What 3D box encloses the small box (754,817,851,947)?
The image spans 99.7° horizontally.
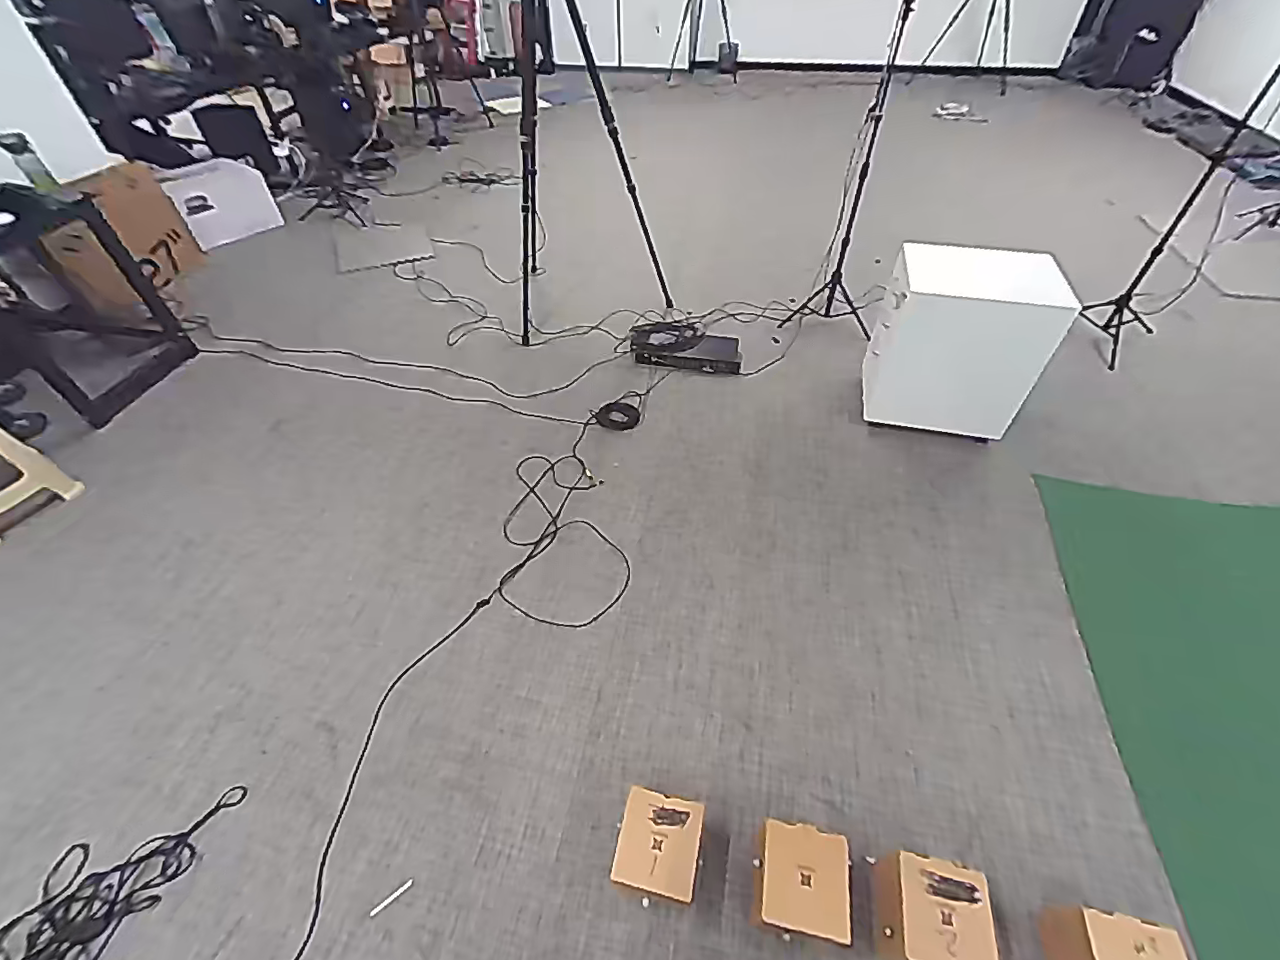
[{"bbox_3d":[0.332,0.837,1.122,0.168,0.176,0.179,8,47,9],"label":"small box"}]

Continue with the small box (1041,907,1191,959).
[{"bbox_3d":[0.903,0.939,1.015,0.168,0.176,0.179,9,48,9],"label":"small box"}]

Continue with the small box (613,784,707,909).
[{"bbox_3d":[0.045,0.792,1.167,0.168,0.176,0.179,10,49,11],"label":"small box"}]
